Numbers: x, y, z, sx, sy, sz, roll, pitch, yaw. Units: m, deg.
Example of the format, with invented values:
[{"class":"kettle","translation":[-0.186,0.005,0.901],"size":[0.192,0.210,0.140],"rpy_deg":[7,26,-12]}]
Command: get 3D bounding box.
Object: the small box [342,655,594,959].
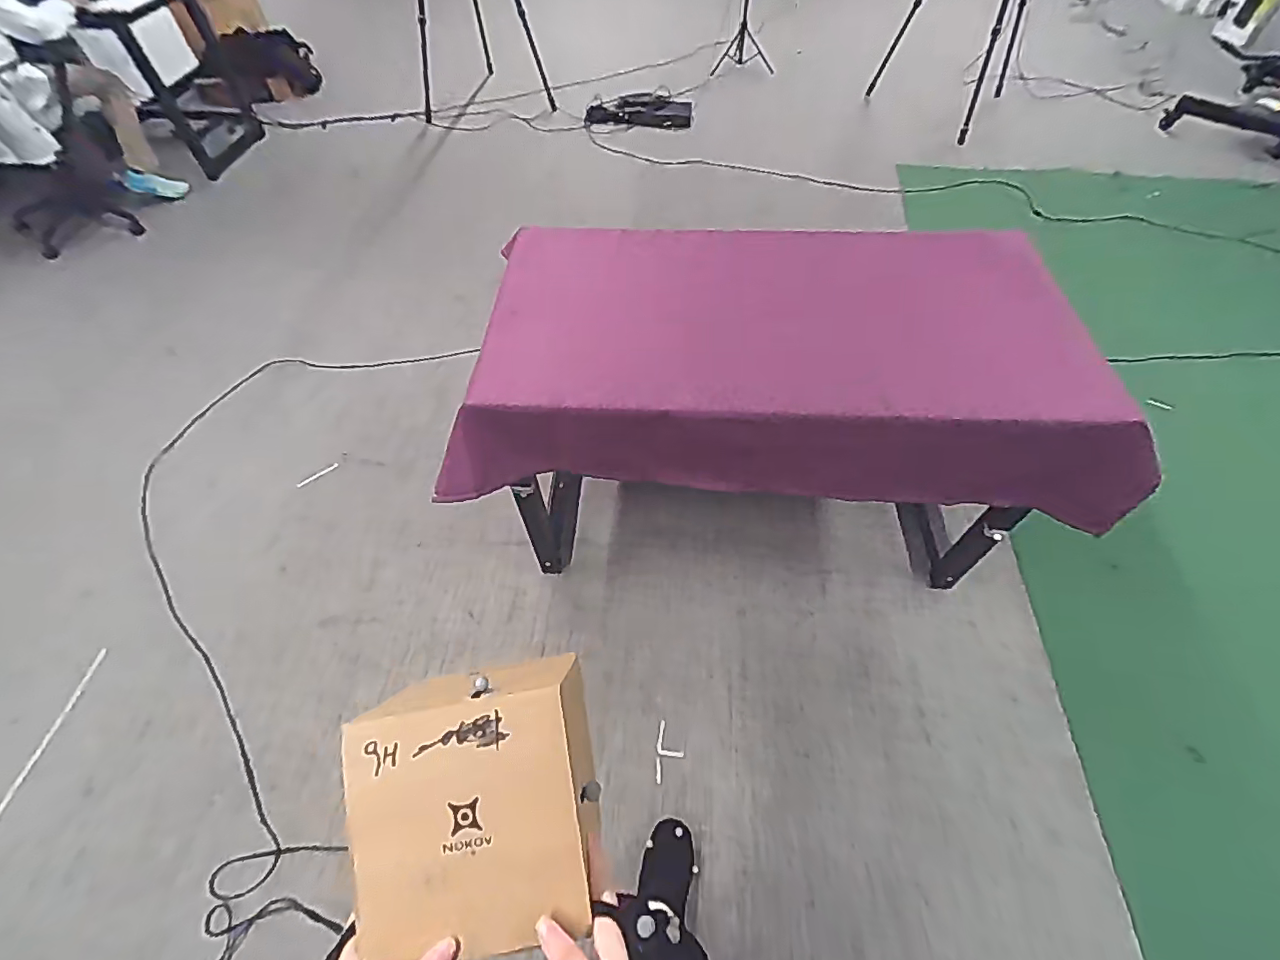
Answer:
[{"class":"small box","translation":[-0.137,0.271,0.486],"size":[0.168,0.176,0.179],"rpy_deg":[-9,81,-3]}]
